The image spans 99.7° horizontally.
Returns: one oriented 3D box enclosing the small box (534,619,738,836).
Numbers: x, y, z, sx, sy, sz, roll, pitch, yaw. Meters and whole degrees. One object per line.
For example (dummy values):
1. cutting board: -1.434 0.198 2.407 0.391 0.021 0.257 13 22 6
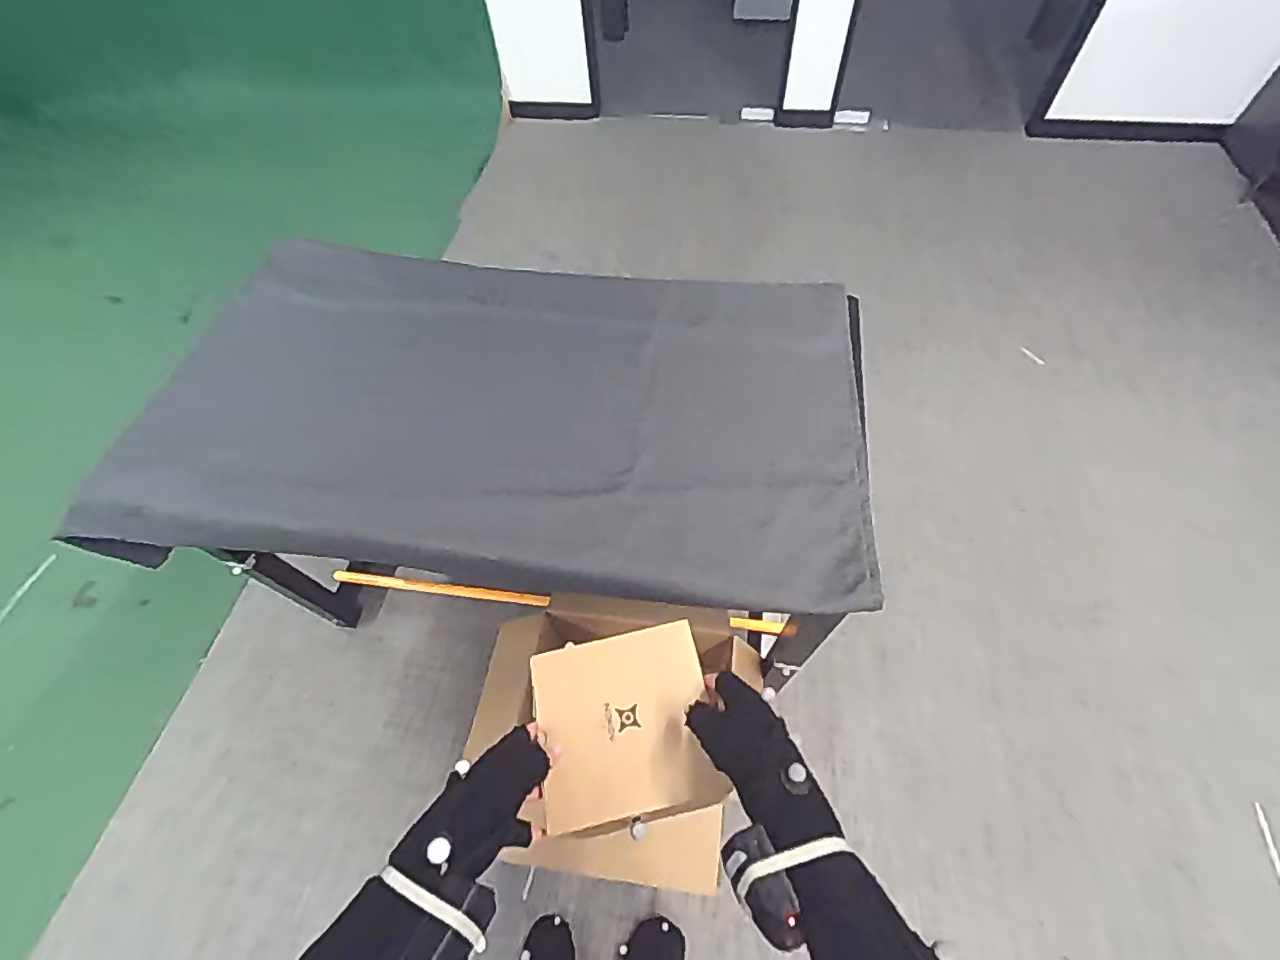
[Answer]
1. small box: -0.004 0.274 0.594 0.179 0.176 0.168 -14 56 -2
